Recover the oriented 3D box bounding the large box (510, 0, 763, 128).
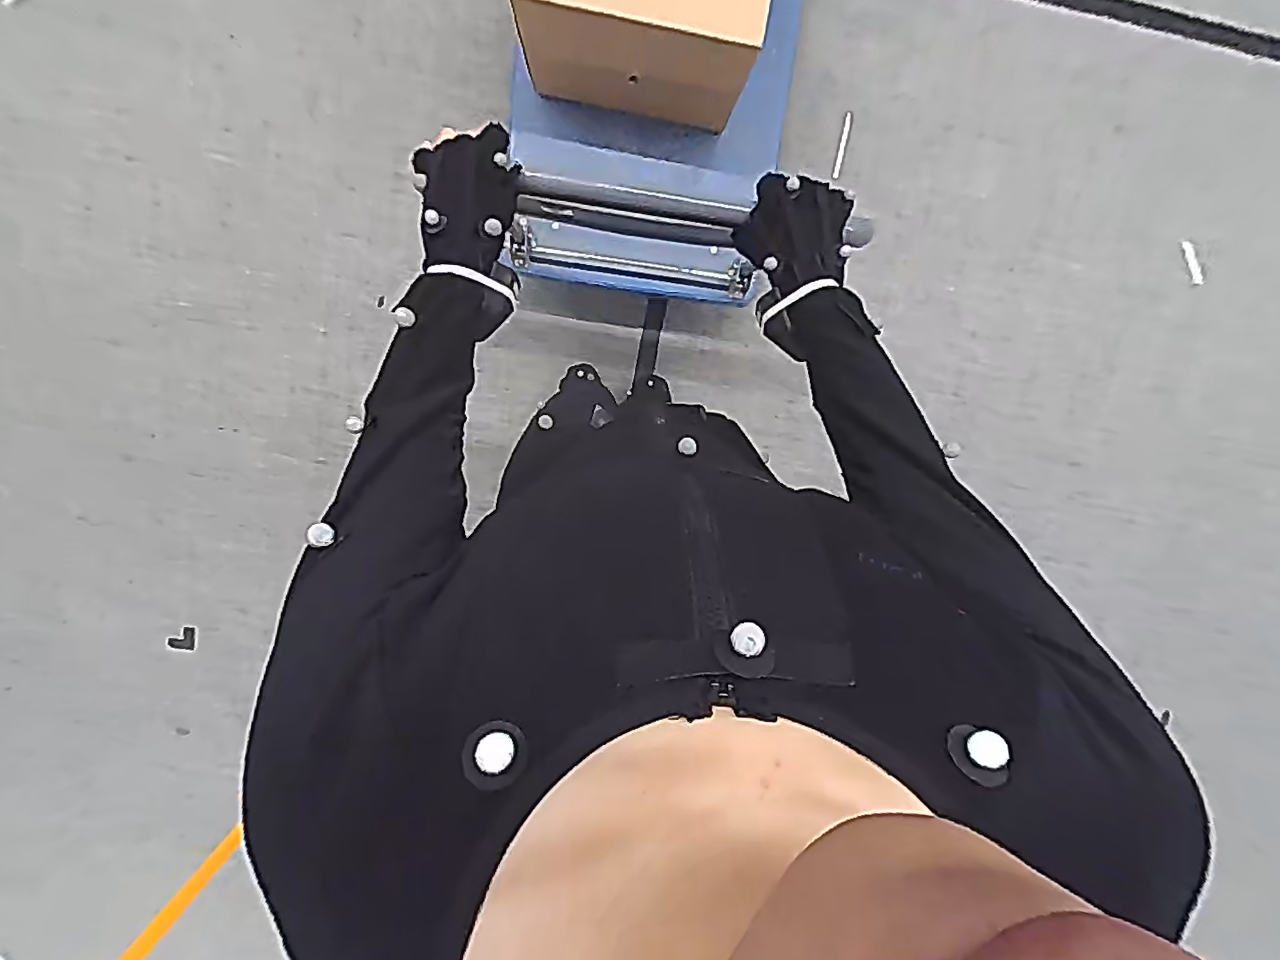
[{"bbox_3d":[0.008,-0.897,0.980,0.408,0.320,0.320,8,100,-4],"label":"large box"}]

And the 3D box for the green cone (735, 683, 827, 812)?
[{"bbox_3d":[0.413,0.750,1.471,0.202,0.368,0.200,13,100,-7],"label":"green cone"}]
